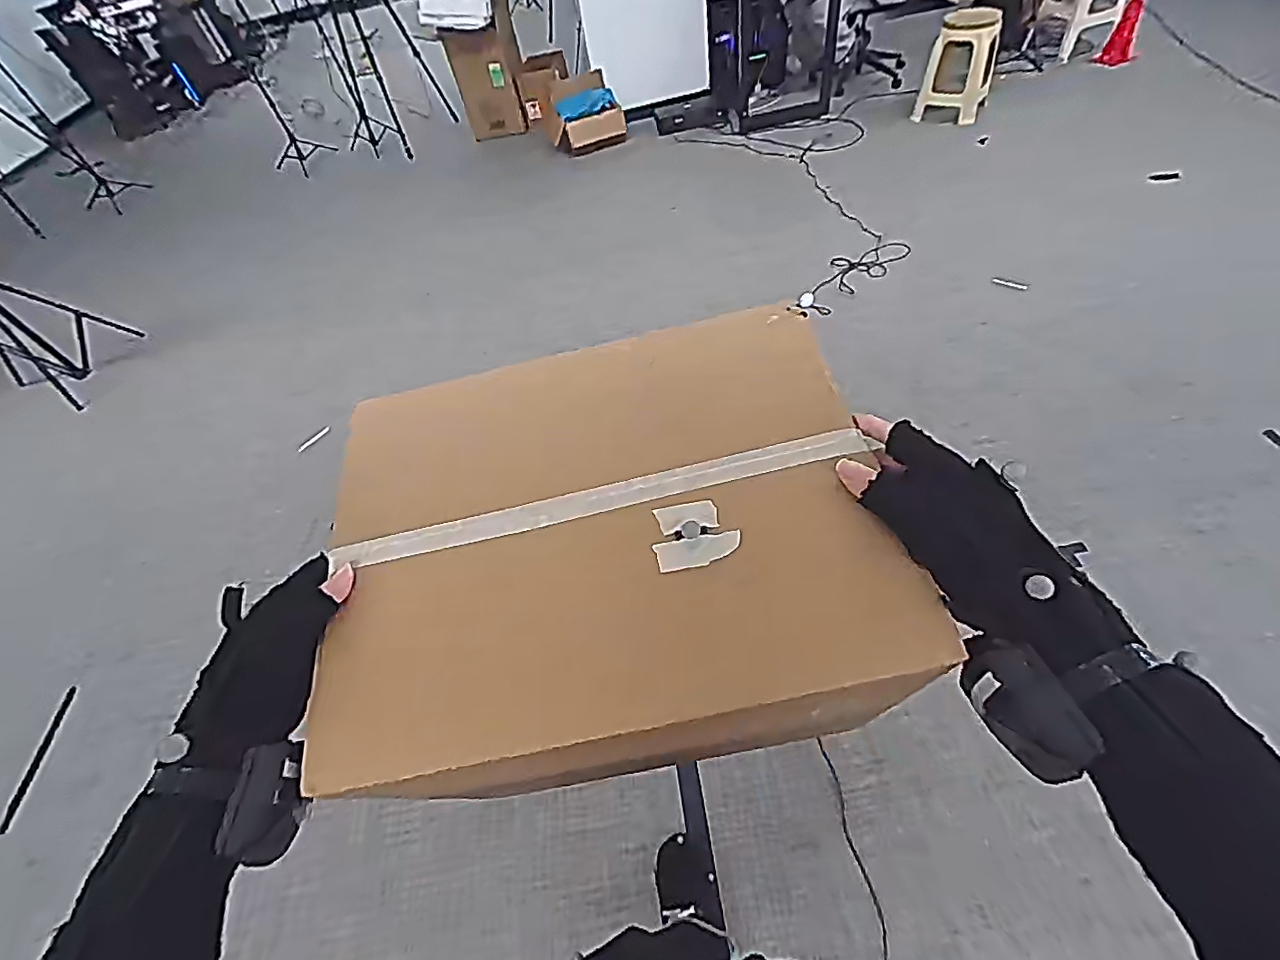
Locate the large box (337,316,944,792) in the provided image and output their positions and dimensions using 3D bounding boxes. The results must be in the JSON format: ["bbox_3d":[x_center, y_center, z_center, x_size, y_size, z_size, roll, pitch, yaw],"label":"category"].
[{"bbox_3d":[-0.008,0.097,0.543,0.408,0.320,0.320,-13,59,2],"label":"large box"}]
